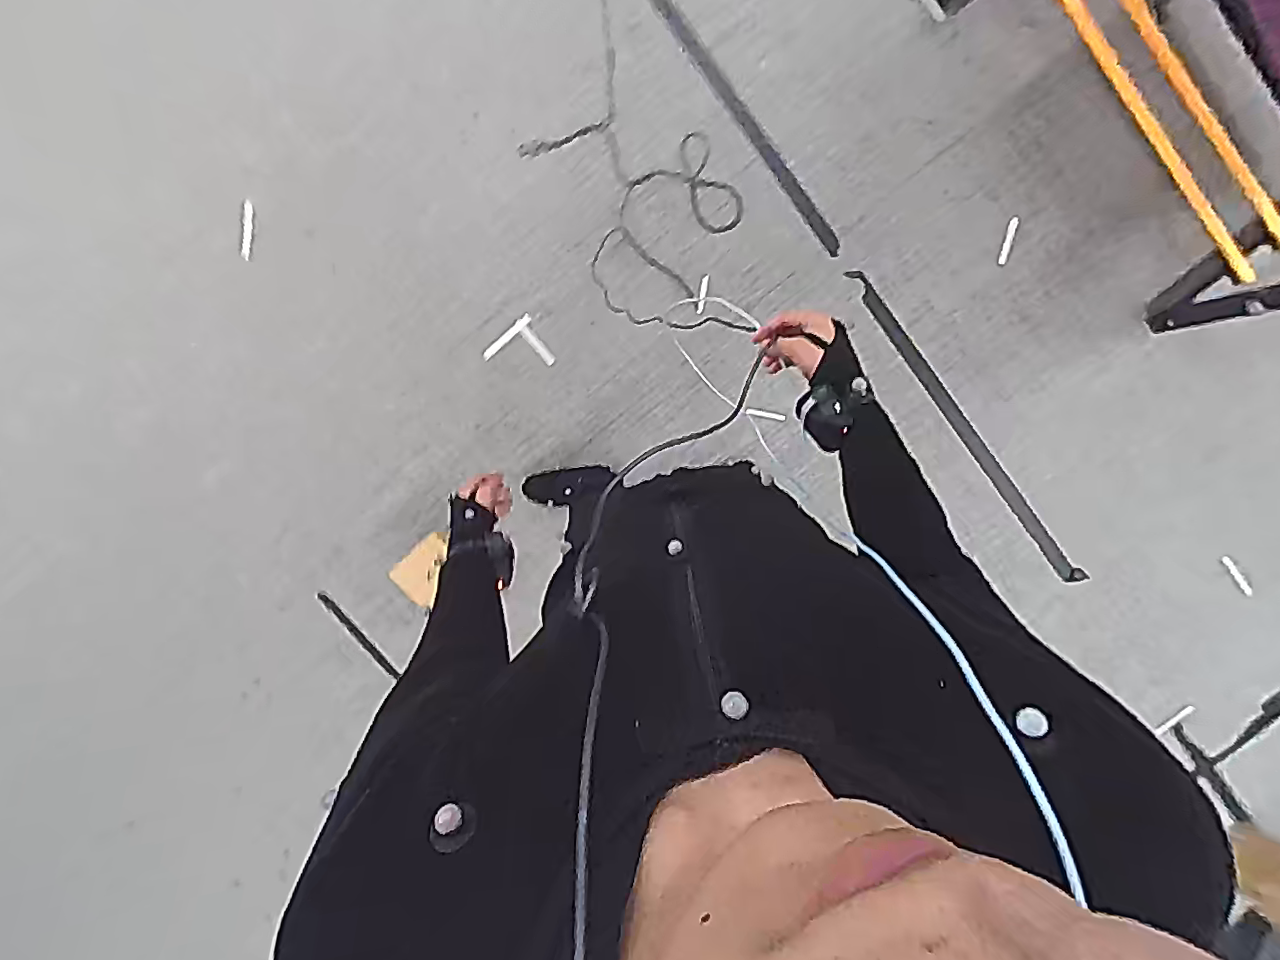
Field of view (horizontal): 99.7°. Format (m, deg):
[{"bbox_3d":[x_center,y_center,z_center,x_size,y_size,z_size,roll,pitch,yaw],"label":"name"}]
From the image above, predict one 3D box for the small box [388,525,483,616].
[{"bbox_3d":[-0.575,0.251,1.557,0.179,0.176,0.168,-42,95,4],"label":"small box"}]
